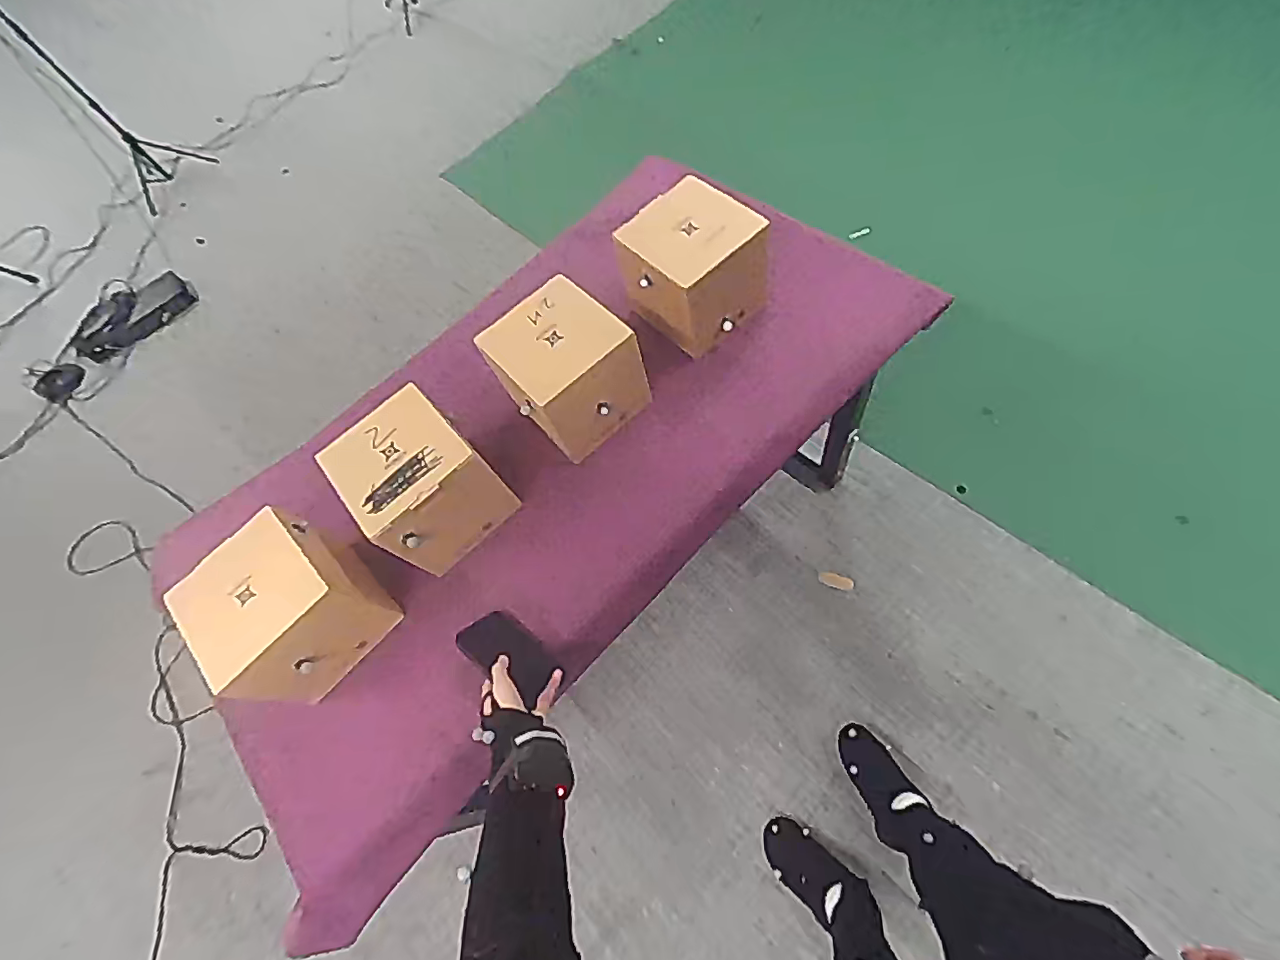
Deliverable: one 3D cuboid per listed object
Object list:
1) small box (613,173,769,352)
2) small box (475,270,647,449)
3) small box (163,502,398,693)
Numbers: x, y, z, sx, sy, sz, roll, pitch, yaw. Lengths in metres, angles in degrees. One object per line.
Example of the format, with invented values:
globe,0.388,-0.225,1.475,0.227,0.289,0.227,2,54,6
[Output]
small box,0.085,-0.340,0.864,0.168,0.176,0.179,-40,64,-8
small box,-0.109,-0.171,0.819,0.168,0.176,0.179,-40,63,-10
small box,-0.469,0.165,0.728,0.179,0.176,0.168,38,77,25
